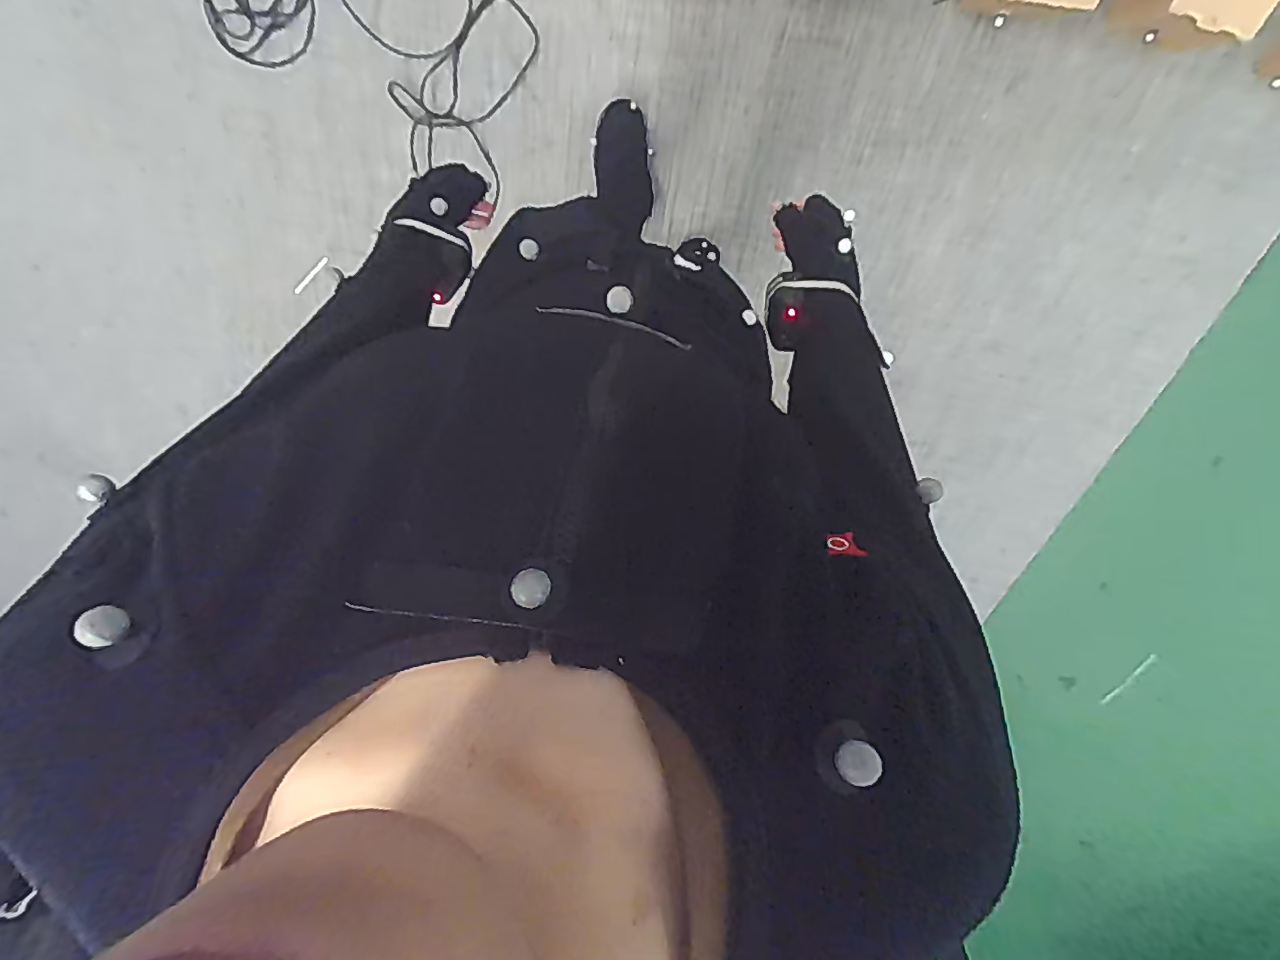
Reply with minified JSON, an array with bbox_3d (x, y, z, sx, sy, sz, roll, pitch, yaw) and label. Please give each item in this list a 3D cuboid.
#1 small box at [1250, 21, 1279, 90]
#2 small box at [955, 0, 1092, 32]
[{"bbox_3d":[1.271,-0.795,0.958,0.168,0.176,0.179,10,123,-4],"label":"small box"},{"bbox_3d":[0.676,-0.895,0.922,0.168,0.176,0.179,7,125,0],"label":"small box"}]
